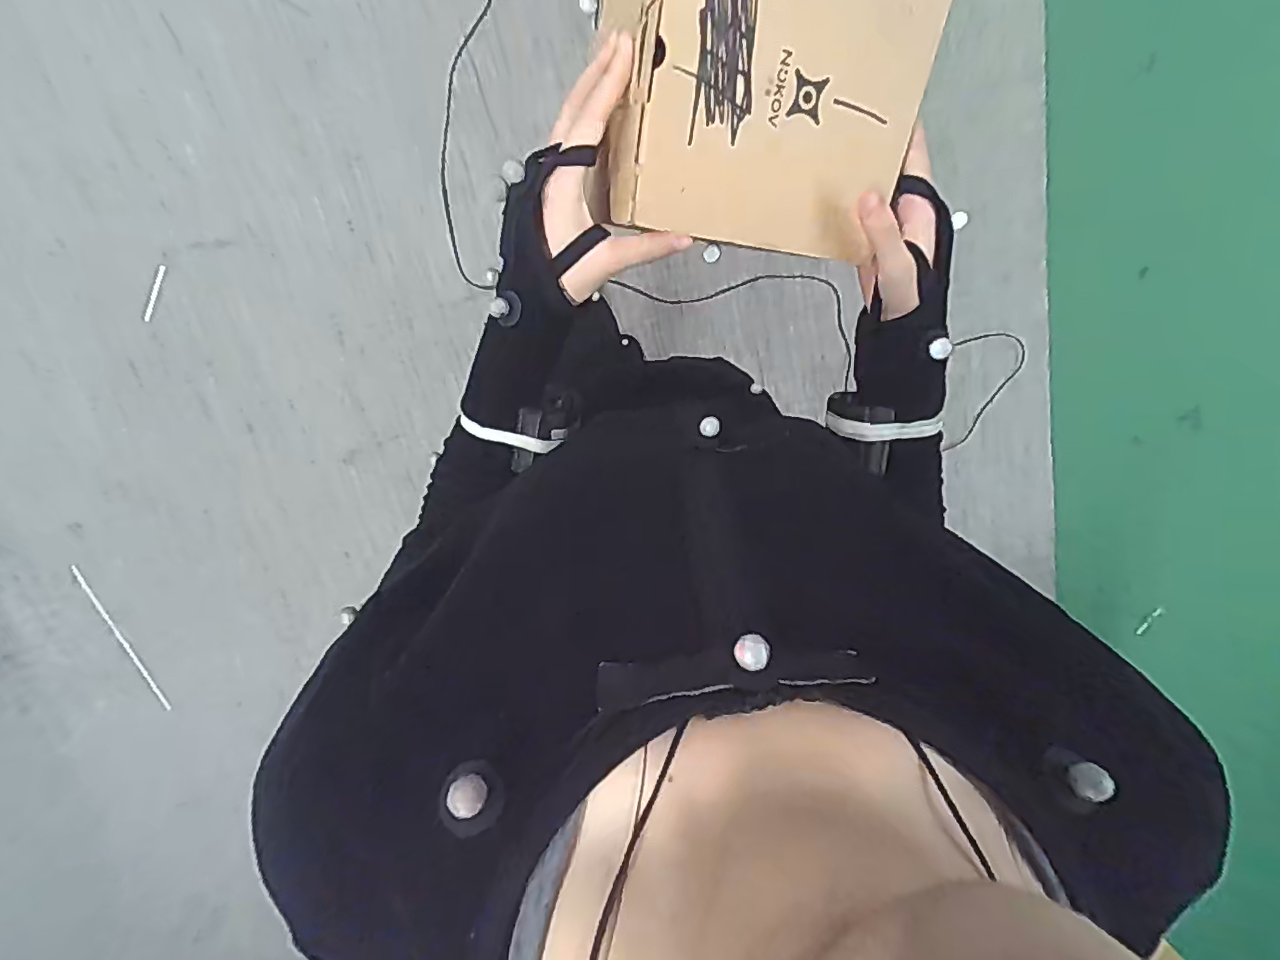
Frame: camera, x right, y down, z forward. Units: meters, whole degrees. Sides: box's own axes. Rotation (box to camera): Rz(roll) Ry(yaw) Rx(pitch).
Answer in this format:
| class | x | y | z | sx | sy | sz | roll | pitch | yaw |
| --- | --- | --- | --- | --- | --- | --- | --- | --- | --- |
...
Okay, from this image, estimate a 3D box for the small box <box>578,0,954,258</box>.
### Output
| class | x | y | z | sx | sy | sz | roll | pitch | yaw |
| --- | --- | --- | --- | --- | --- | --- | --- | --- | --- |
| small box | 0.063 | -0.255 | 0.367 | 0.179 | 0.176 | 0.168 | 0 | 116 | -21 |
